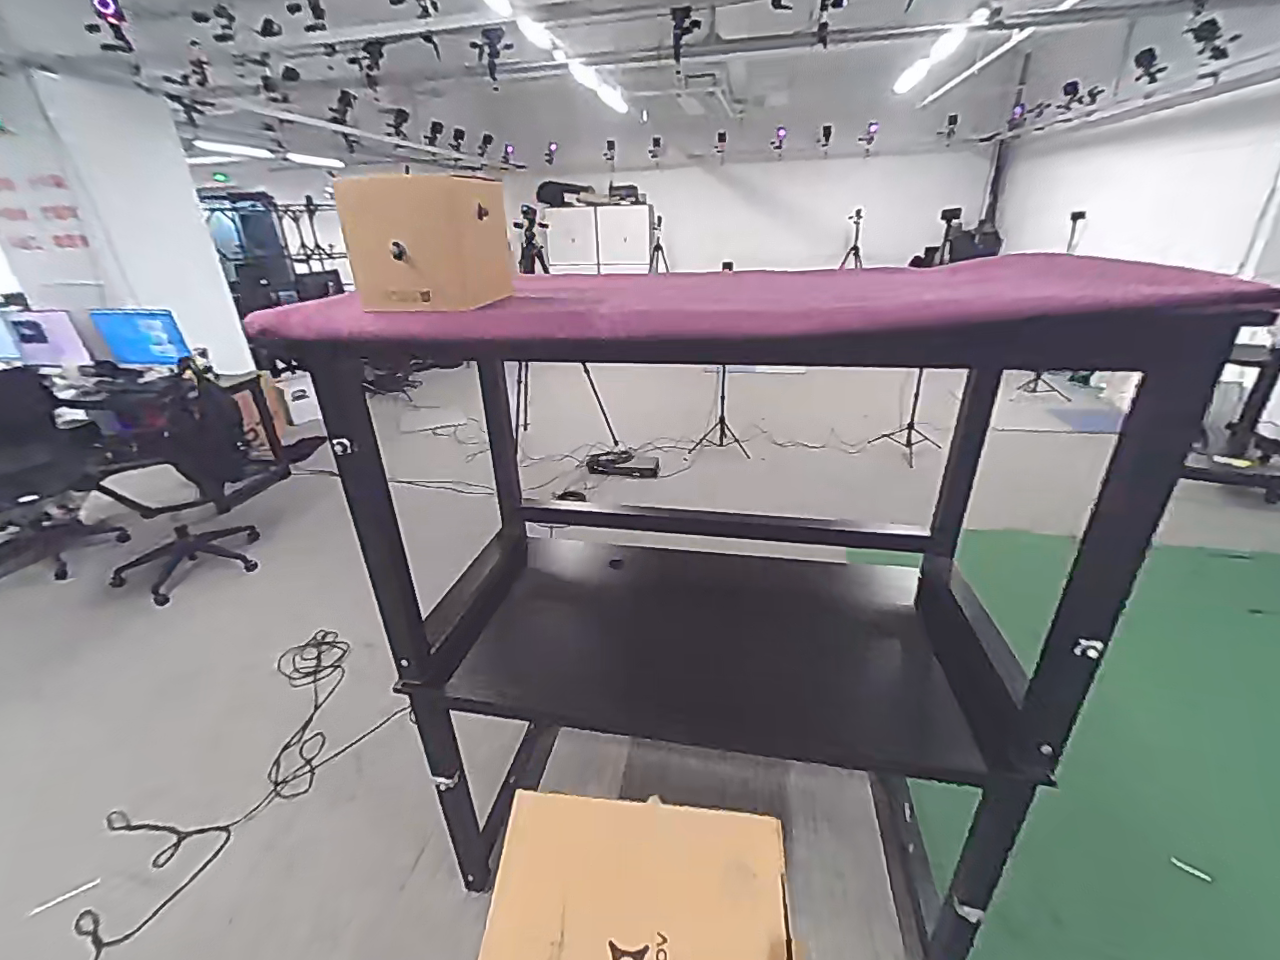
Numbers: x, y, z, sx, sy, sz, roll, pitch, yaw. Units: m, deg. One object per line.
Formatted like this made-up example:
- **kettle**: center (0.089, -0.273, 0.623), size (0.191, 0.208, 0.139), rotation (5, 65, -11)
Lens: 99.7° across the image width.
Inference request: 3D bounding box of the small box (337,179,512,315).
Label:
- **small box**: center (-0.299, -0.341, 0.797), size (0.168, 0.176, 0.179), rotation (3, 26, 8)

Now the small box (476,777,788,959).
- **small box**: center (-0.003, 0.319, 0.359), size (0.179, 0.176, 0.168), rotation (2, 44, 5)
